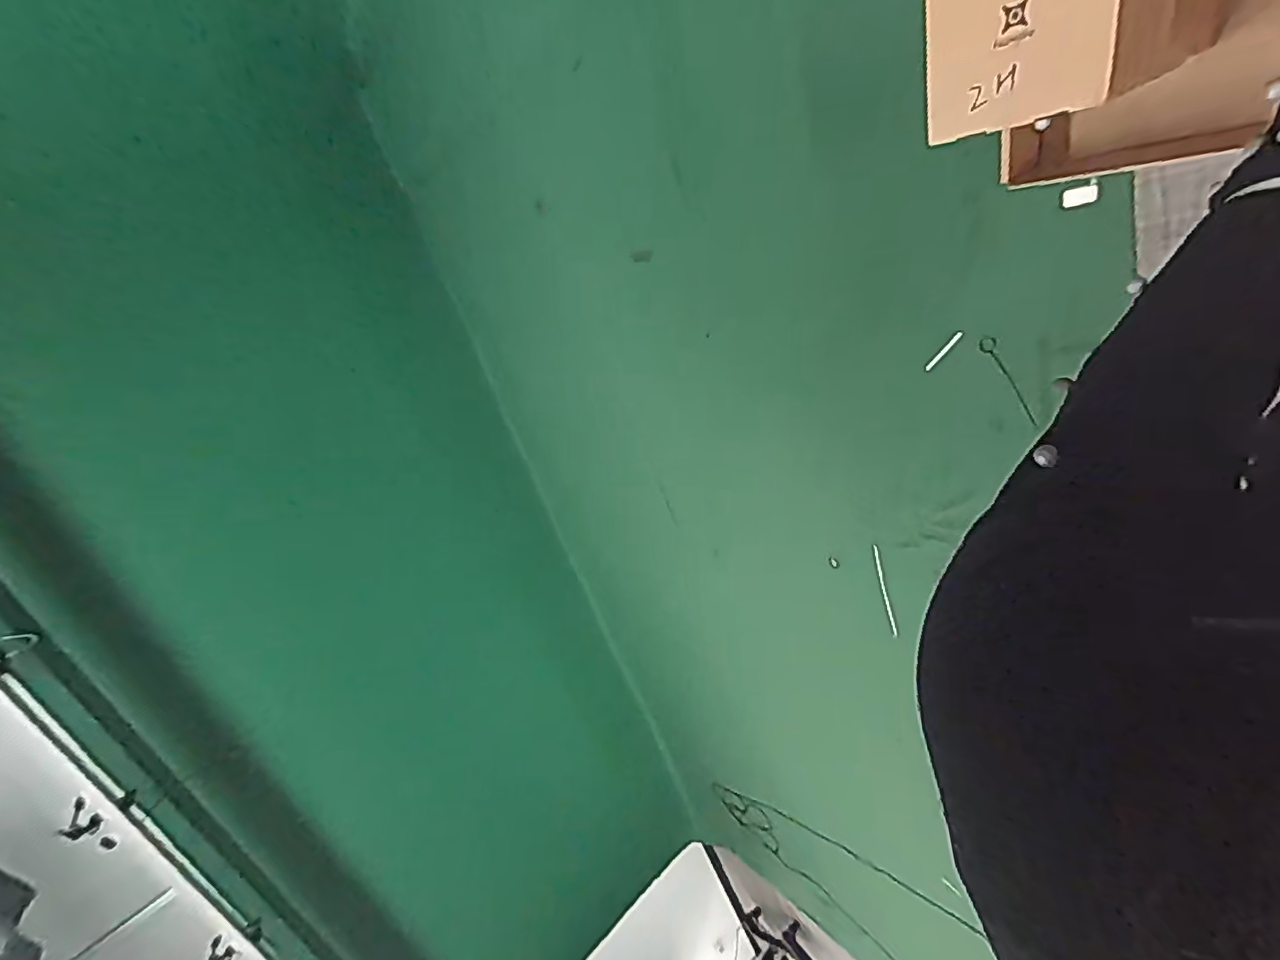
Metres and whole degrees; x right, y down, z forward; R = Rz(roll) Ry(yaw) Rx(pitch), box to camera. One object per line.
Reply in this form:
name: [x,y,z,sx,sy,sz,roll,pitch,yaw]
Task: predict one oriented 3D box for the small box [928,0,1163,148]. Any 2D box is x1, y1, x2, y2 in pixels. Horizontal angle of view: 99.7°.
small box: [0.428,-0.482,0.574,0.168,0.176,0.179,18,134,47]
